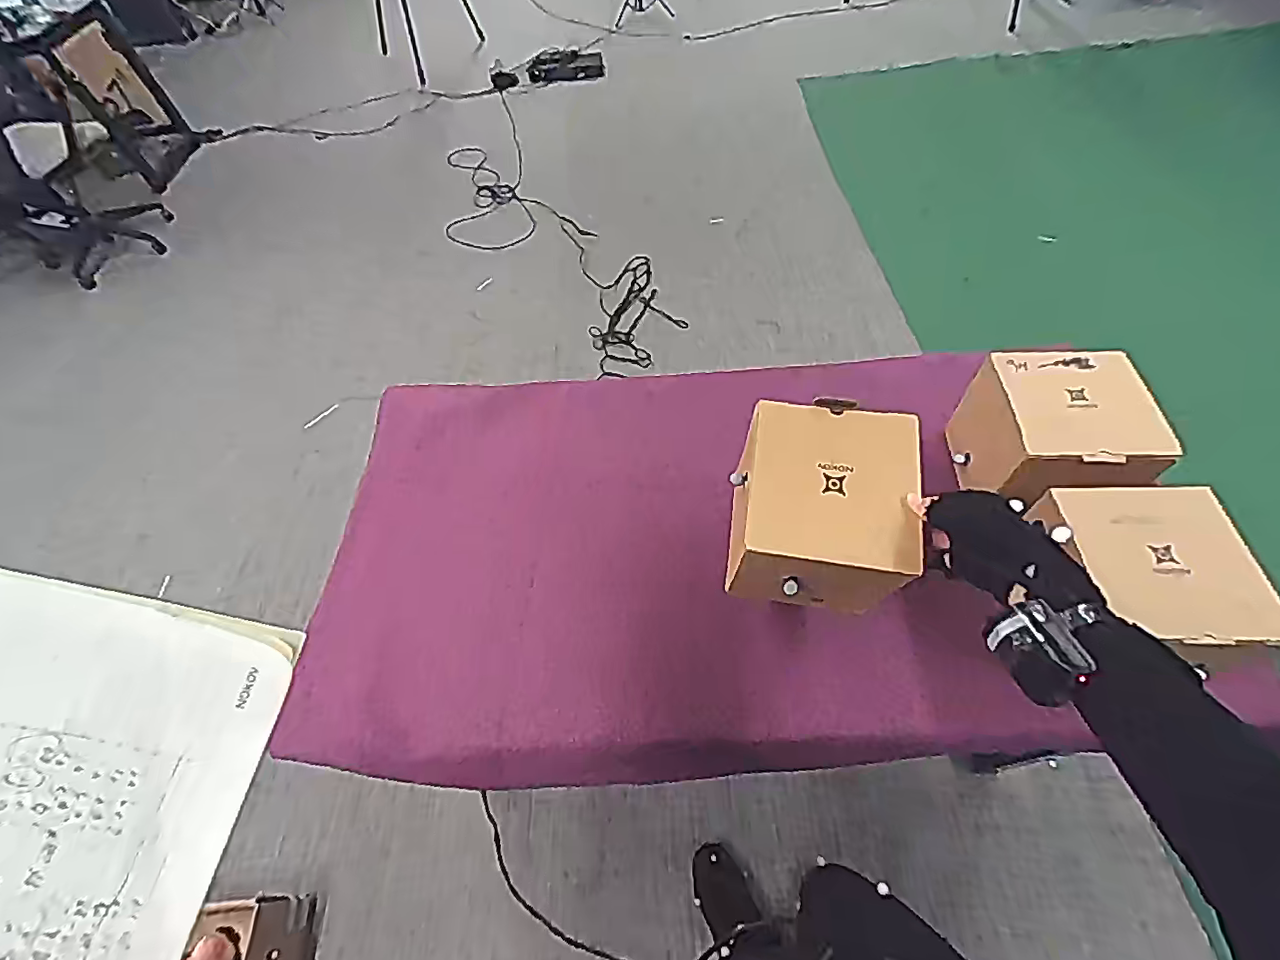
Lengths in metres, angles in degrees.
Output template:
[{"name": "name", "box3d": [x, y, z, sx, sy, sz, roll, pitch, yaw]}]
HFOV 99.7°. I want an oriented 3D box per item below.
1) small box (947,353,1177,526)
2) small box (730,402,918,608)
[{"name": "small box", "box3d": [0.547, -0.051, 0.734, 0.168, 0.176, 0.179, 2, 57, 7]}, {"name": "small box", "box3d": [0.197, 0.037, 0.618, 0.168, 0.176, 0.179, 7, 63, 6]}]
